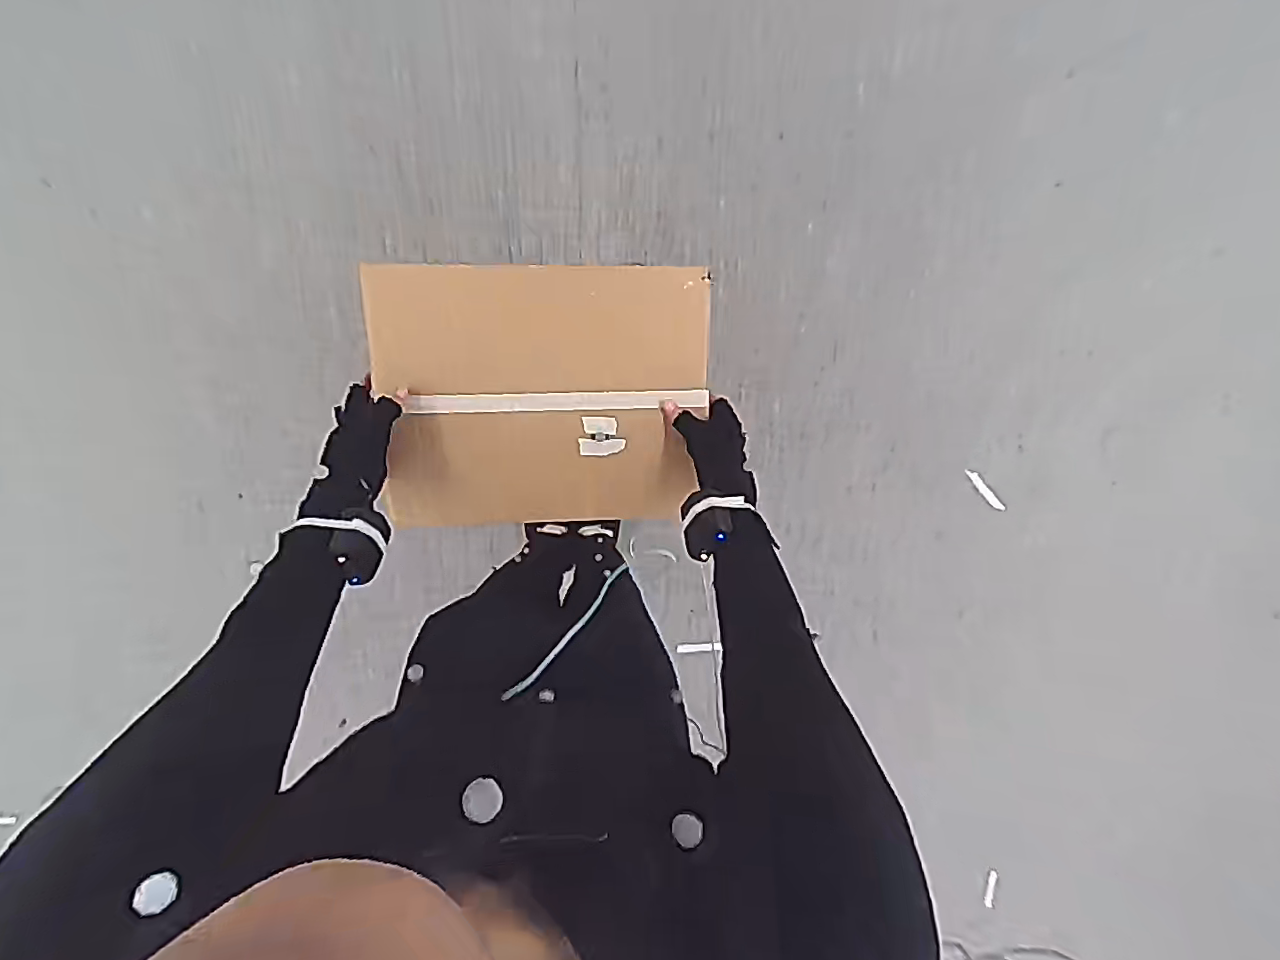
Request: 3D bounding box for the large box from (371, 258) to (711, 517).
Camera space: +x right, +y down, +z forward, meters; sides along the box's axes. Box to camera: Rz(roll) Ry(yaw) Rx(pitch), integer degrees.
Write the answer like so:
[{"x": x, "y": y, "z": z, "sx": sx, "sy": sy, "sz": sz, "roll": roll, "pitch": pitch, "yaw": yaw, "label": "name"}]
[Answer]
[{"x": -0.126, "y": -0.142, "z": 0.813, "sx": 0.408, "sy": 0.320, "sz": 0.320, "roll": -1, "pitch": 104, "yaw": -6, "label": "large box"}]
